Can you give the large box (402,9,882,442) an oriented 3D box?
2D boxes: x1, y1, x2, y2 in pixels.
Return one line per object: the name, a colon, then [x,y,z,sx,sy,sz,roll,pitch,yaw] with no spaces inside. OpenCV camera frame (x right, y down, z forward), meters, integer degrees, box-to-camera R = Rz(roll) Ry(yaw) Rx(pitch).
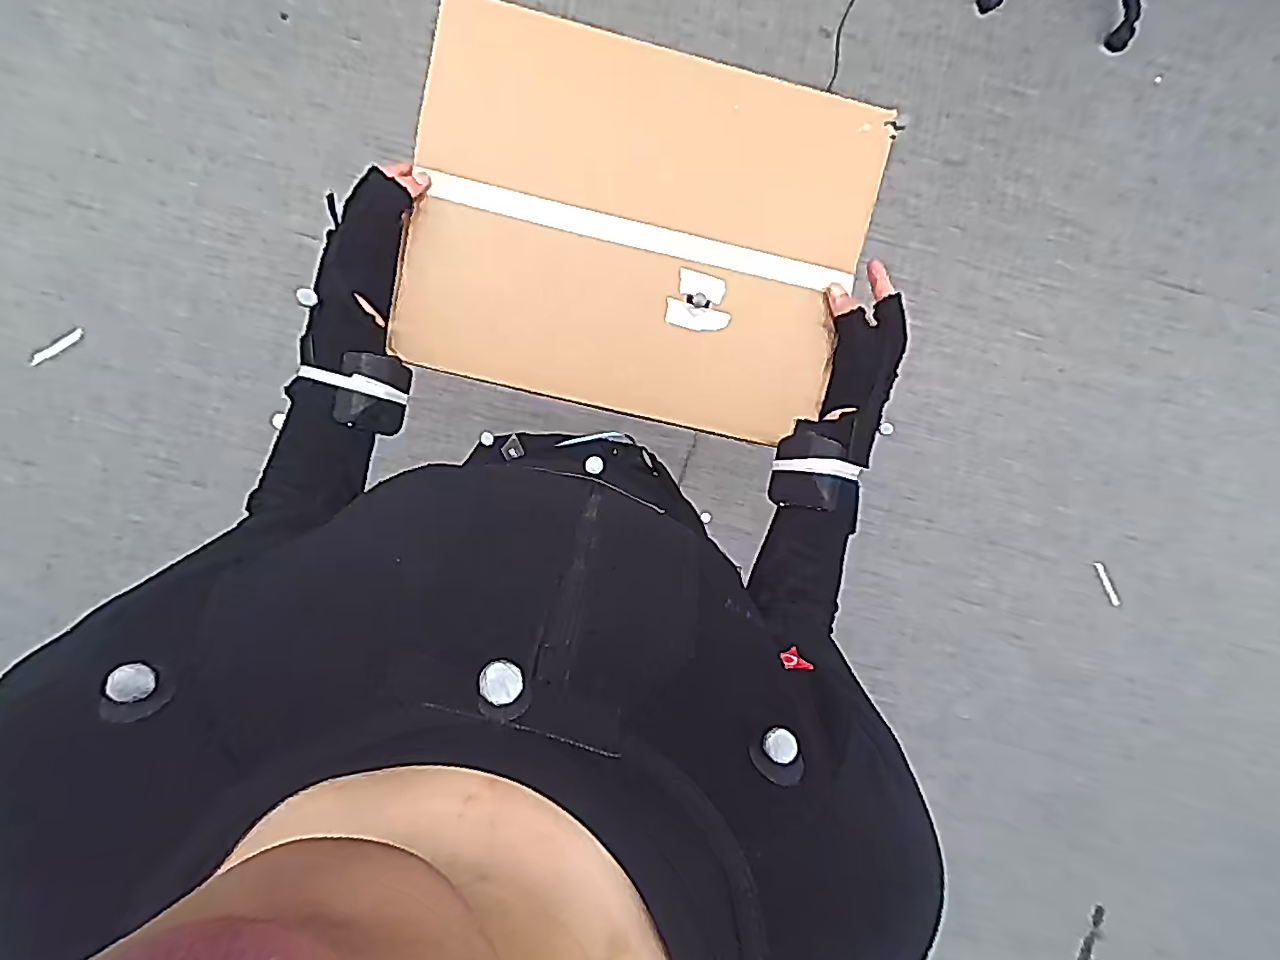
large box: [-0.009,-0.243,0.648,0.408,0.320,0.320,13,98,-5]
